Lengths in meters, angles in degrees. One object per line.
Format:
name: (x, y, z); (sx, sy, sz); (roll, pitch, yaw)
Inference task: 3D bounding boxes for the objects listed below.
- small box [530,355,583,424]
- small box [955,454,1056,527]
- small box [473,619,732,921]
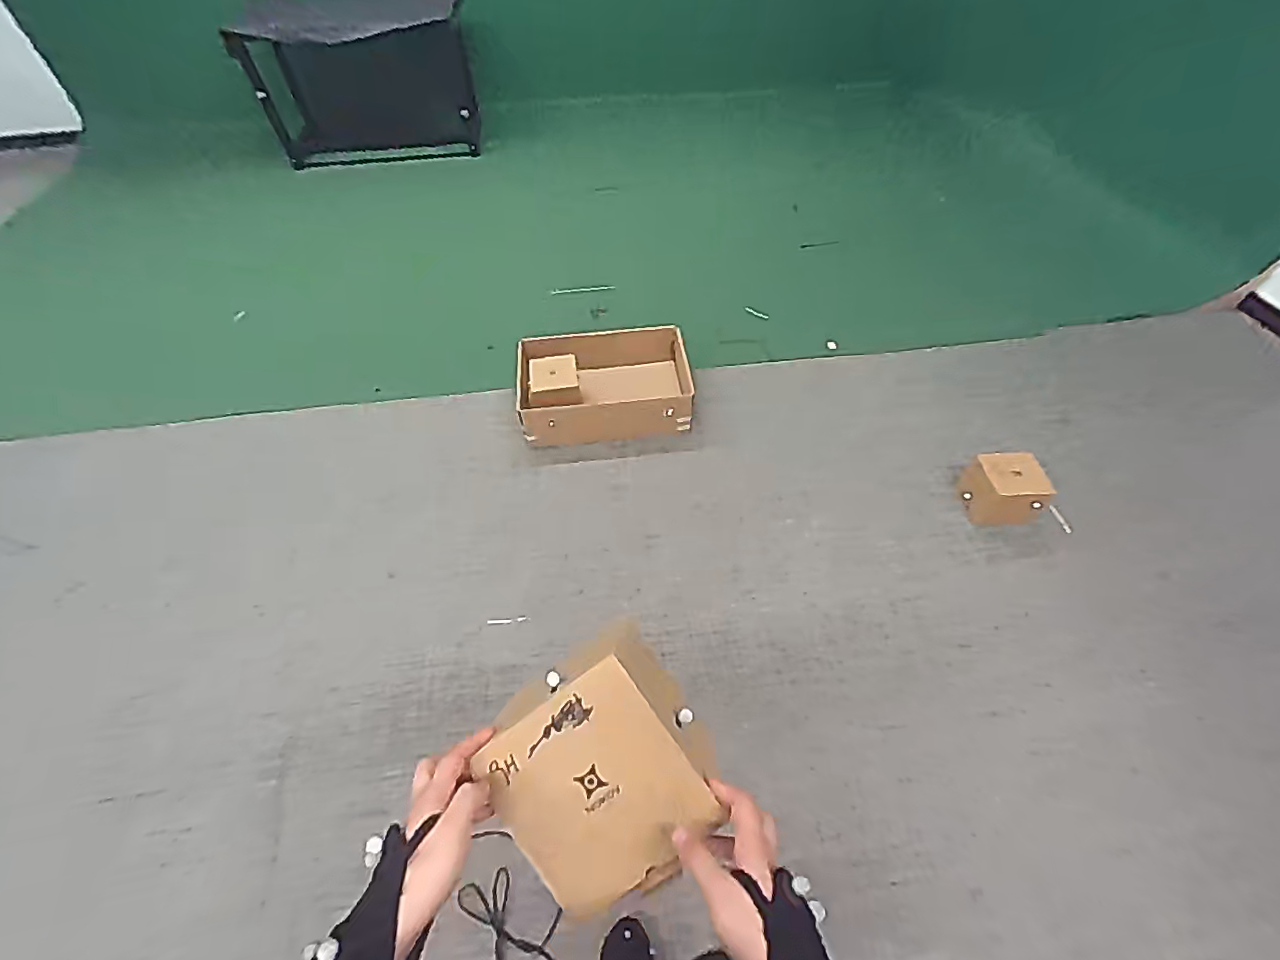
small box: (-0.301, -0.327, 1.960); (0.168, 0.176, 0.179); (-8, 54, -5)
small box: (1.139, 0.036, 1.701); (0.179, 0.176, 0.168); (-2, 51, 0)
small box: (-0.031, 0.269, 0.549); (0.168, 0.176, 0.179); (-36, 88, 0)
